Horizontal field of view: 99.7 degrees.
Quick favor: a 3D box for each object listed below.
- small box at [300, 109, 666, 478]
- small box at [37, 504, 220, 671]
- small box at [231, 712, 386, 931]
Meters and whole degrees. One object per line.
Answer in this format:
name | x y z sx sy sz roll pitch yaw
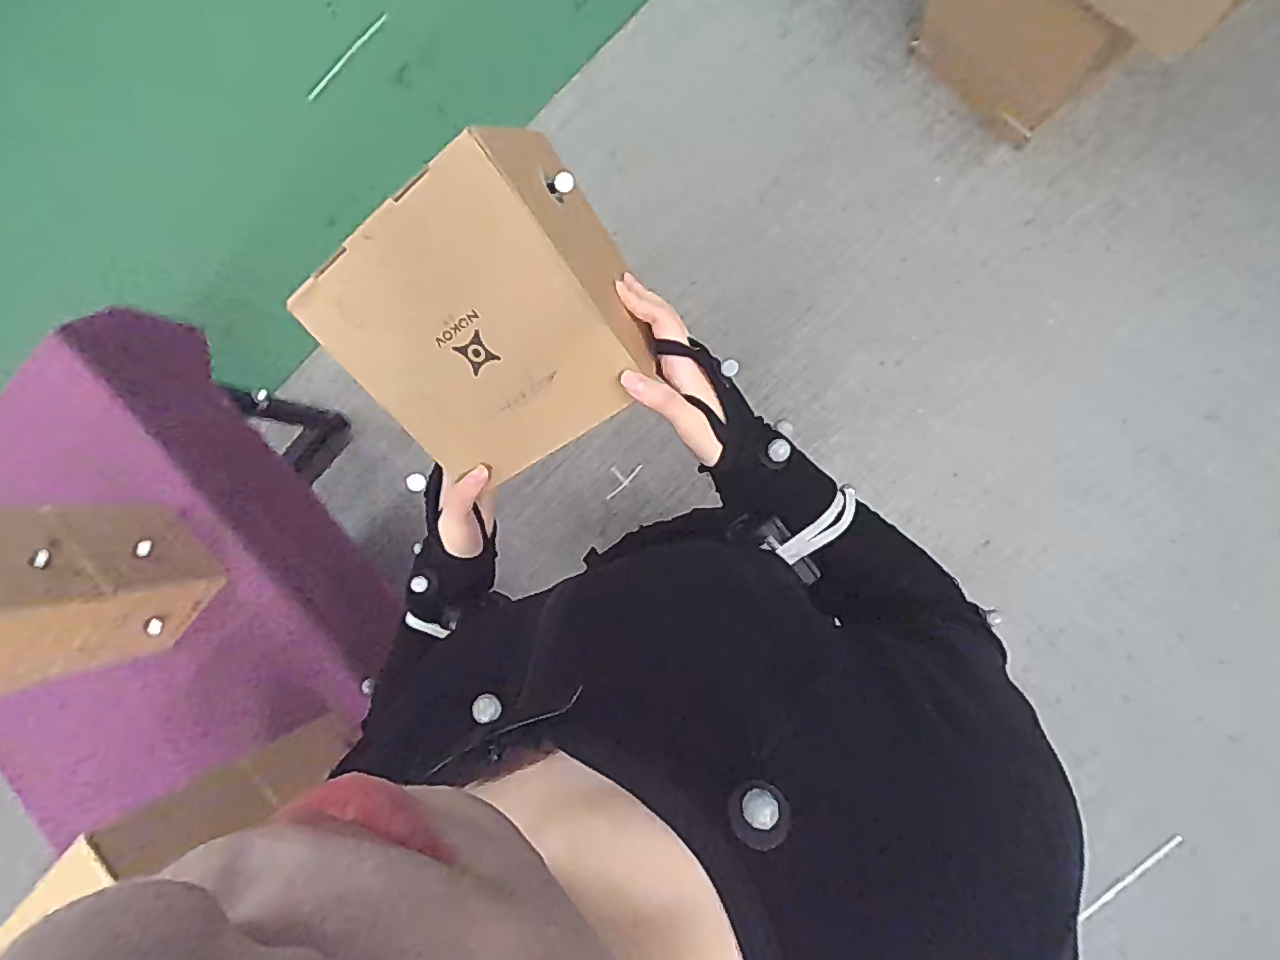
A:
small box | -0.093 -0.139 0.410 0.168 0.176 0.179 -27 117 21
small box | -0.802 0.149 0.820 0.179 0.176 0.168 43 94 8
small box | -0.490 0.462 0.751 0.168 0.176 0.179 44 95 9
